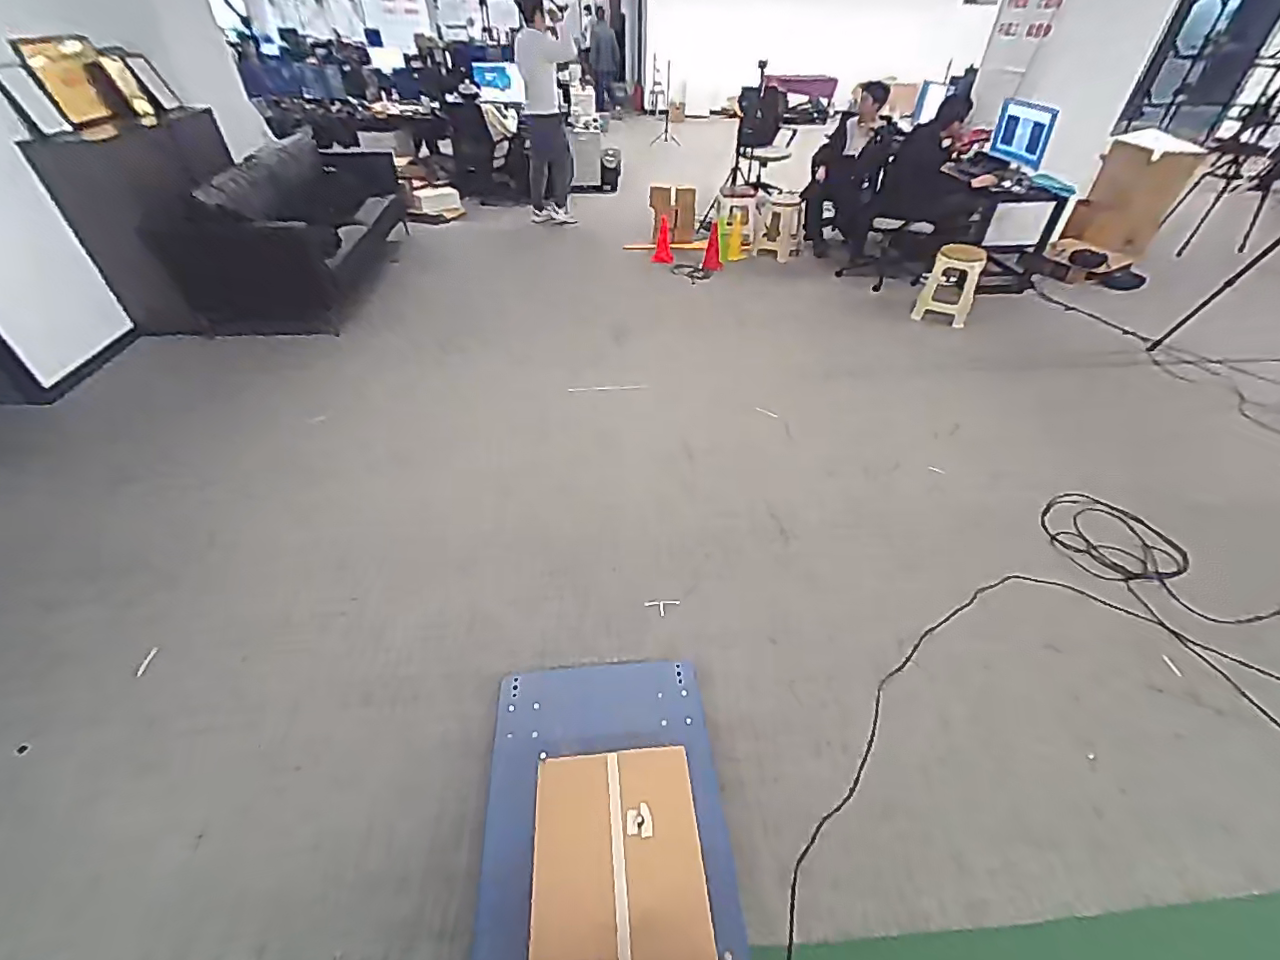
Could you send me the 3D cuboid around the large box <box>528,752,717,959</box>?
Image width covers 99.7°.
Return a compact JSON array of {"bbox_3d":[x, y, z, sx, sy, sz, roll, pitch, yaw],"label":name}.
[{"bbox_3d":[-0.045,0.832,1.086,0.320,0.320,0.408,-3,40,-6],"label":"large box"}]
